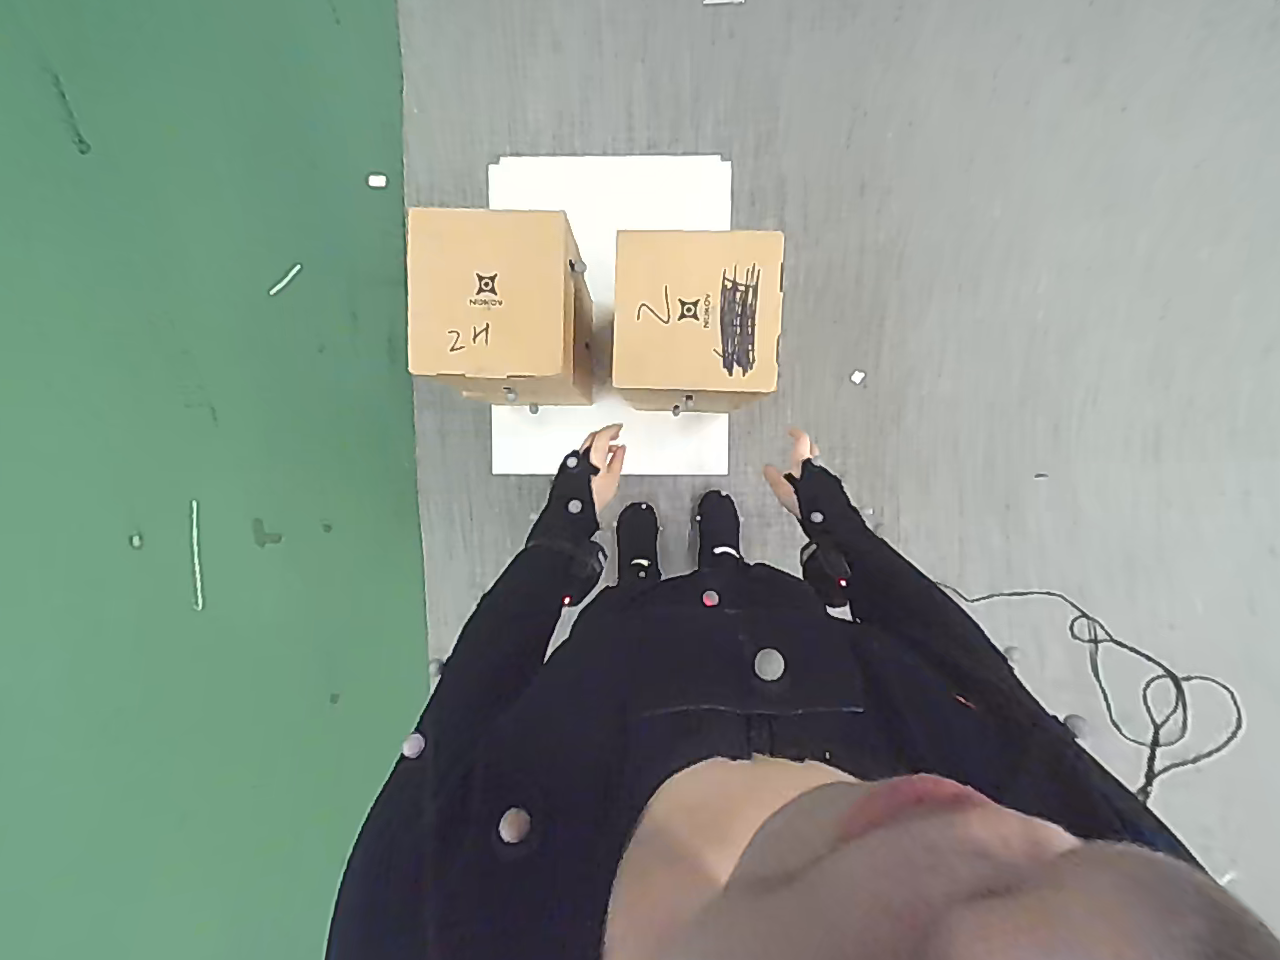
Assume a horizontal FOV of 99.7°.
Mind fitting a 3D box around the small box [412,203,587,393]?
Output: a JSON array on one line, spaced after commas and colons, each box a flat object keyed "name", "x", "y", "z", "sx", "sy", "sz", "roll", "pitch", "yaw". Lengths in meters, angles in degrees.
[{"name": "small box", "x": -0.156, "y": -0.205, "z": 0.649, "sx": 0.168, "sy": 0.176, "sz": 0.179, "roll": 2, "pitch": 93, "yaw": 1}]

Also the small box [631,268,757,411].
[{"name": "small box", "x": 0.075, "y": -0.200, "z": 0.807, "sx": 0.168, "sy": 0.176, "sz": 0.179, "roll": 2, "pitch": 94, "yaw": 3}]

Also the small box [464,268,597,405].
[{"name": "small box", "x": -0.157, "y": -0.209, "z": 0.814, "sx": 0.168, "sy": 0.176, "sz": 0.179, "roll": 1, "pitch": 94, "yaw": 1}]
